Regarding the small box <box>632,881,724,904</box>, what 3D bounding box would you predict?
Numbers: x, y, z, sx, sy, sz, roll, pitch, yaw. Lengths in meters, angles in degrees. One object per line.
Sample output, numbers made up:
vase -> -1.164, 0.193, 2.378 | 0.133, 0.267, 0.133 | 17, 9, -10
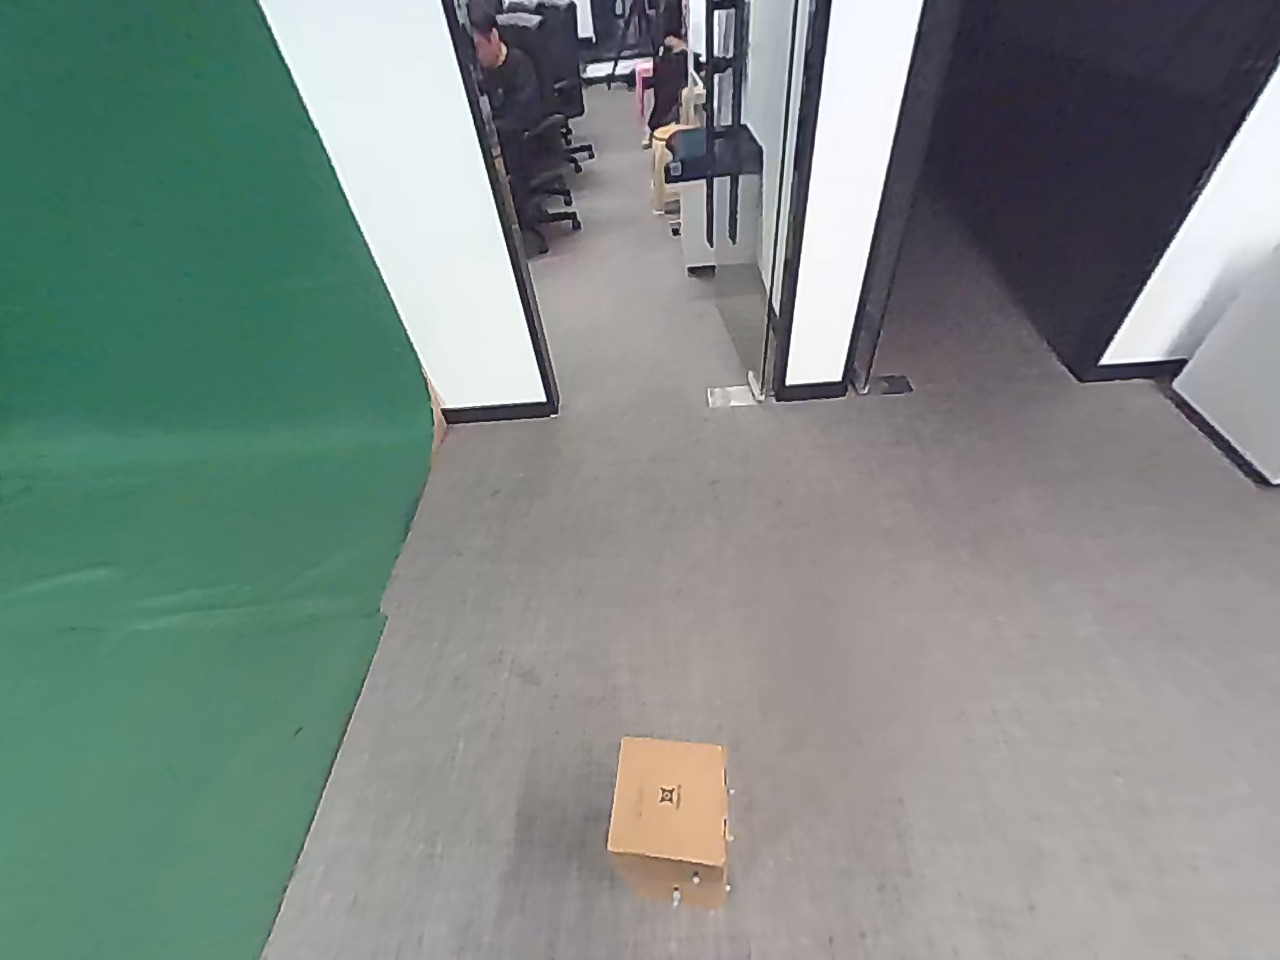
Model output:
small box -> 0.087, 0.769, 1.133 | 0.179, 0.176, 0.168 | 0, 46, 9

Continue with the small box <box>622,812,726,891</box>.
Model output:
small box -> 0.070, 0.659, 1.017 | 0.179, 0.176, 0.168 | -1, 47, 8

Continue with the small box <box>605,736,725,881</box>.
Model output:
small box -> 0.052, 0.547, 0.897 | 0.179, 0.176, 0.168 | 0, 45, 9
